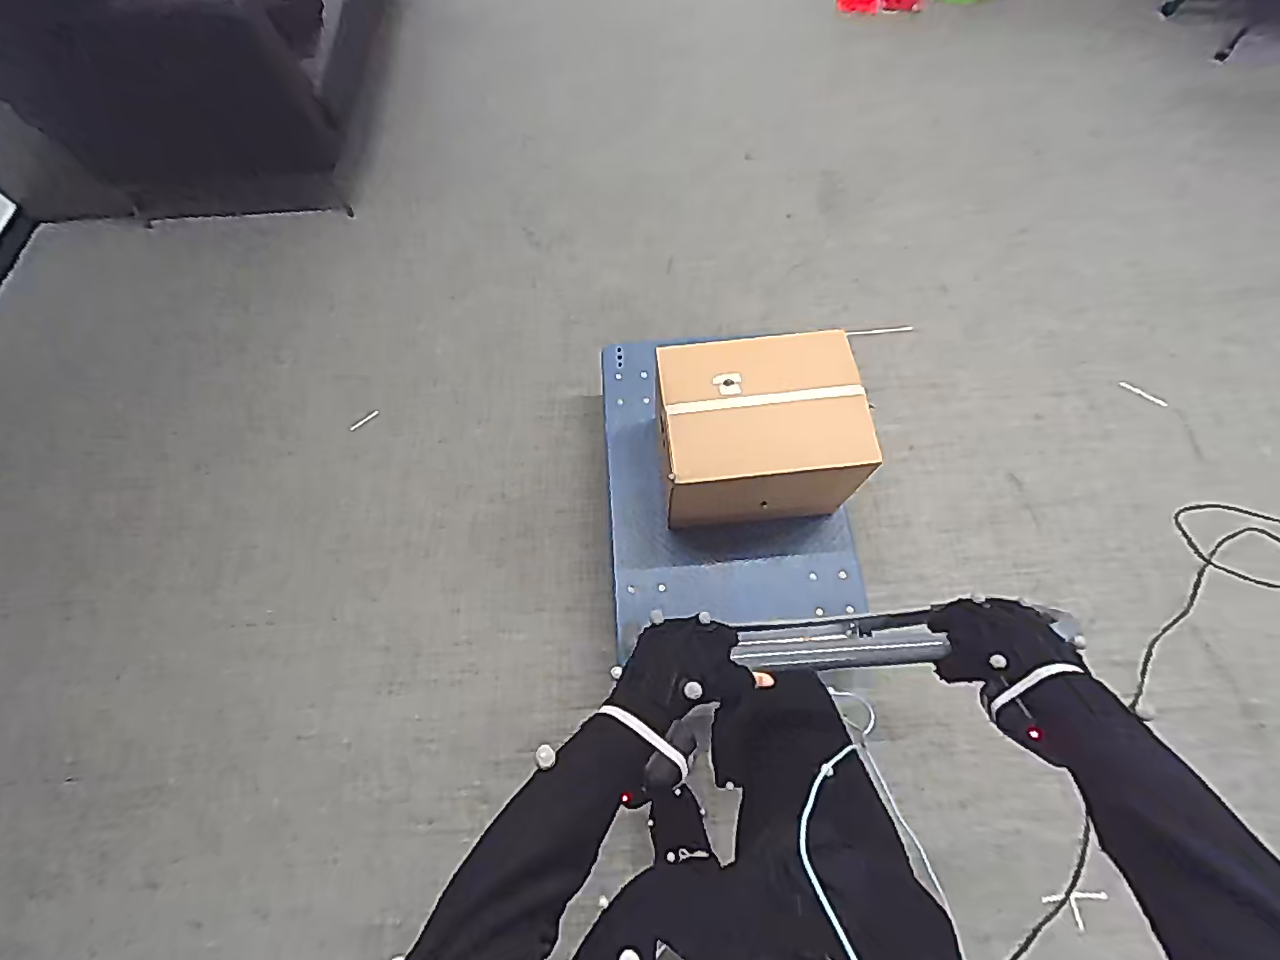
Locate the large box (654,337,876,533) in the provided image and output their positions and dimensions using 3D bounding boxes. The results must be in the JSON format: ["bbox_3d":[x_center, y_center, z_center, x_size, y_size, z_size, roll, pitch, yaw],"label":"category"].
[{"bbox_3d":[0.253,-0.086,1.239,0.408,0.320,0.320,-8,68,0],"label":"large box"}]
